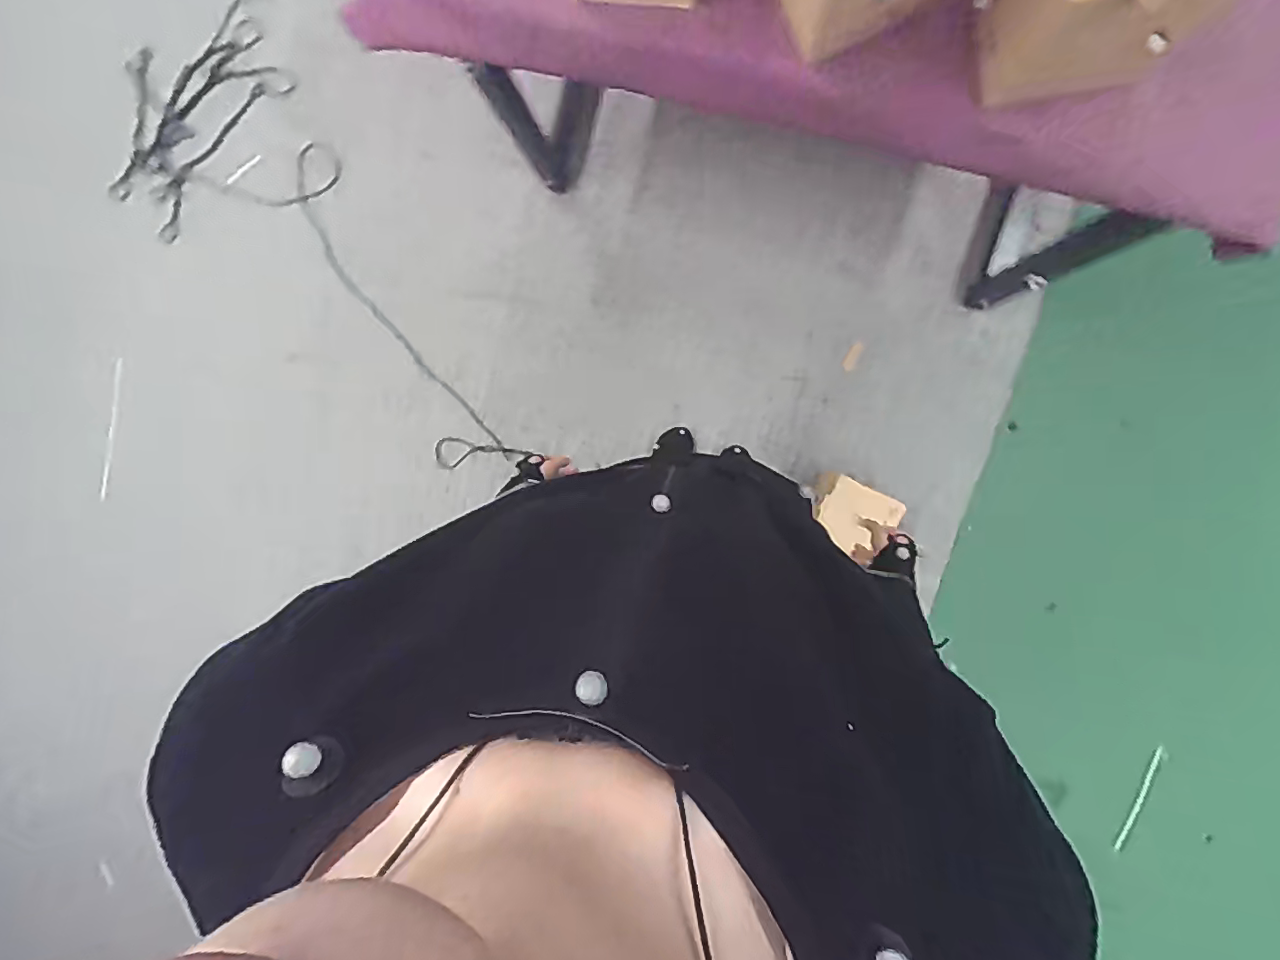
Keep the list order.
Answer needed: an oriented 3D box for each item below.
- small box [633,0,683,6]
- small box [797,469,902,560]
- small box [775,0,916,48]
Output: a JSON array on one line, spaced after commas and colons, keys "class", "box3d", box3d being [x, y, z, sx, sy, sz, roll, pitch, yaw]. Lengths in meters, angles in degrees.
[{"class": "small box", "box3d": [-0.016, -0.707, 0.630, 0.168, 0.176, 0.179, 9, 95, 6]}, {"class": "small box", "box3d": [0.521, 0.079, 1.378, 0.179, 0.176, 0.168, 27, 98, 4]}, {"class": "small box", "box3d": [0.239, -0.639, 0.604, 0.168, 0.176, 0.179, -22, 92, 7]}]
